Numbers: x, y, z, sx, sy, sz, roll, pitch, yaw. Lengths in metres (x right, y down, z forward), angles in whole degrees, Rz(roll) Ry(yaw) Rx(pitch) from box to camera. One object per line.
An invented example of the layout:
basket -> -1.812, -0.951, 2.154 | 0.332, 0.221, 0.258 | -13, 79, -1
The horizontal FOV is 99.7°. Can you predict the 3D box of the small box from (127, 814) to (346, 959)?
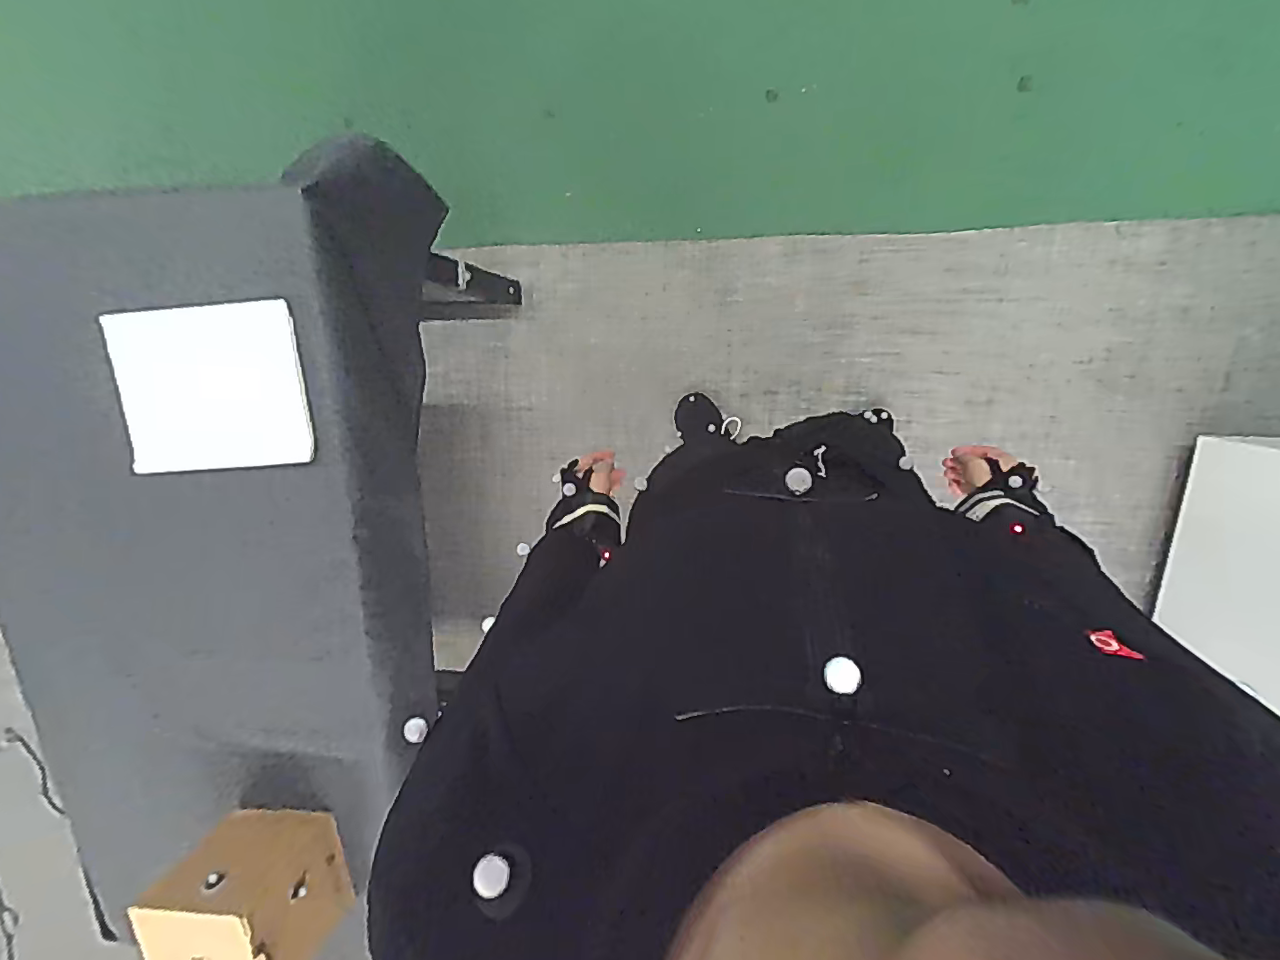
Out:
small box -> -0.550, 0.609, 0.767 | 0.179, 0.176, 0.168 | -4, 101, 11
